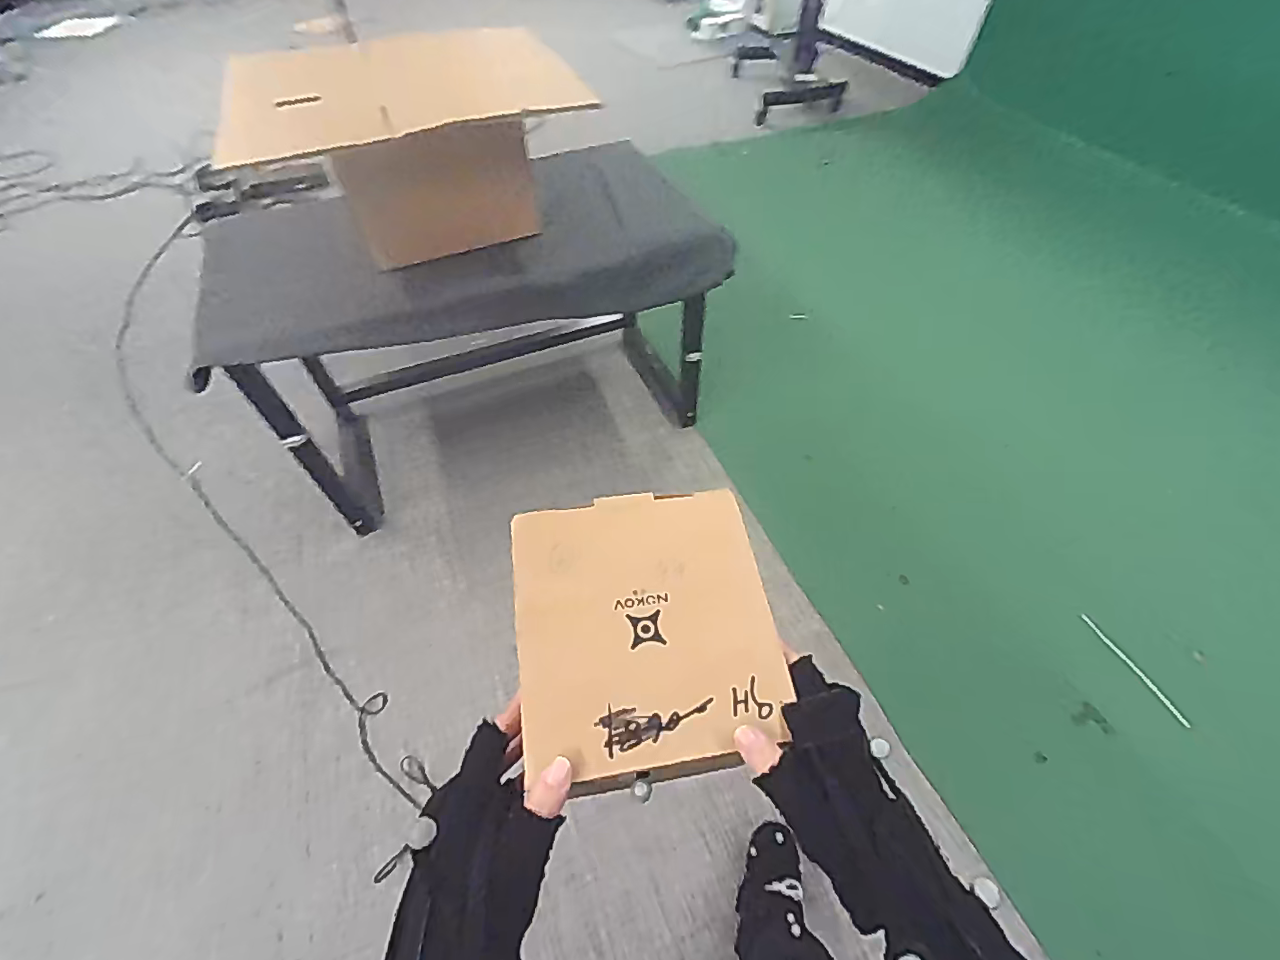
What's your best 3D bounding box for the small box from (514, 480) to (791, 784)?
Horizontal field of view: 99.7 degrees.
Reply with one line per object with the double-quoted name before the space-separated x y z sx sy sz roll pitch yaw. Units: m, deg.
"small box" -0.005 0.124 0.430 0.168 0.176 0.179 -7 57 -7
